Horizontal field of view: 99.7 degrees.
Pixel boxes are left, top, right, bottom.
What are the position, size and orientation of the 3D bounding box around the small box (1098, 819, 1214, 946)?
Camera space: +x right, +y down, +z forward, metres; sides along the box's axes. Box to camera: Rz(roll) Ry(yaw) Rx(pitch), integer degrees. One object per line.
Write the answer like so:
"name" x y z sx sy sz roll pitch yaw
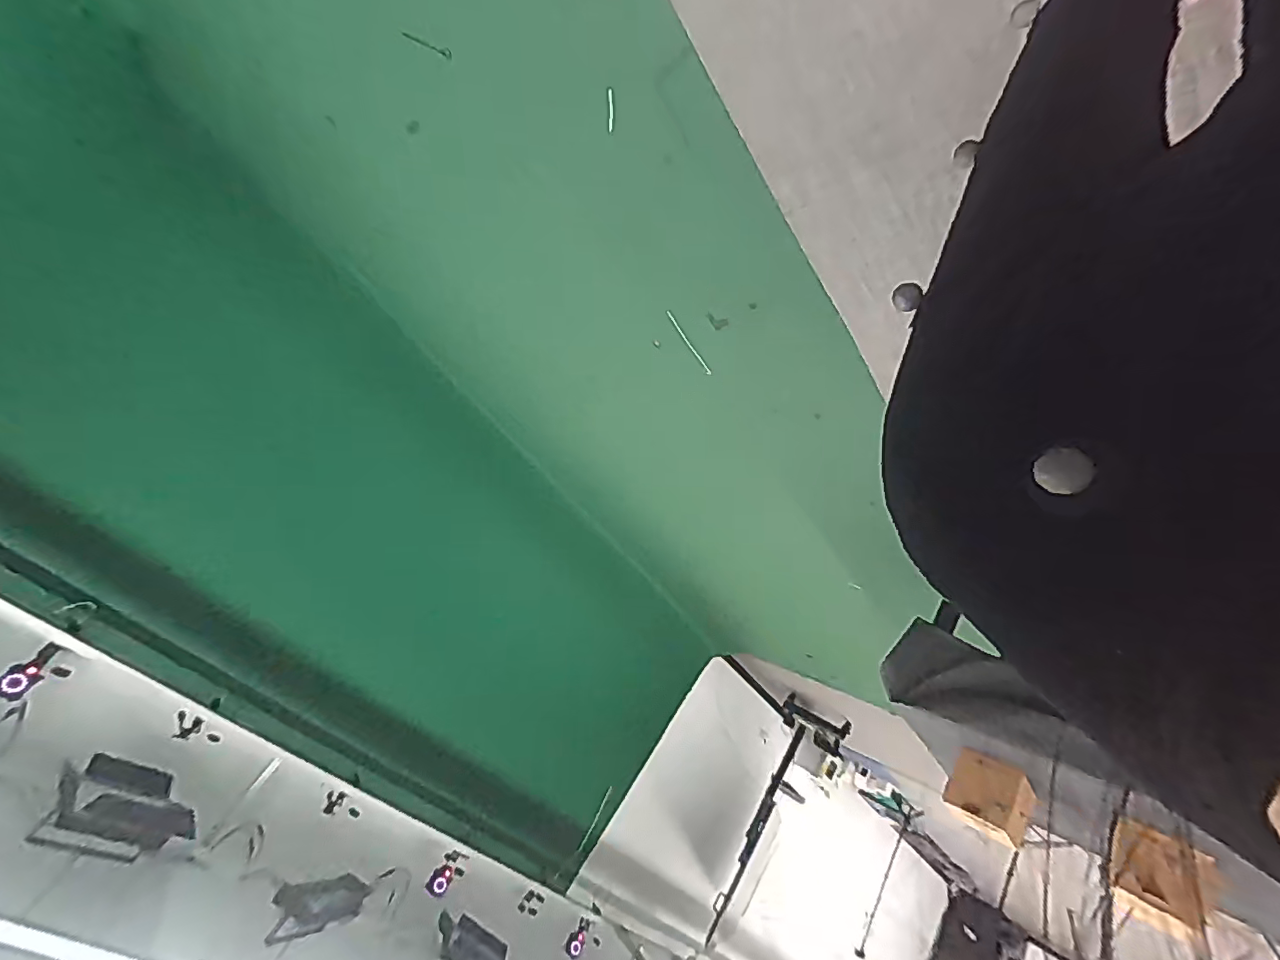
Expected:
"small box" 1.235 0.960 1.298 0.168 0.176 0.179 16 149 44
